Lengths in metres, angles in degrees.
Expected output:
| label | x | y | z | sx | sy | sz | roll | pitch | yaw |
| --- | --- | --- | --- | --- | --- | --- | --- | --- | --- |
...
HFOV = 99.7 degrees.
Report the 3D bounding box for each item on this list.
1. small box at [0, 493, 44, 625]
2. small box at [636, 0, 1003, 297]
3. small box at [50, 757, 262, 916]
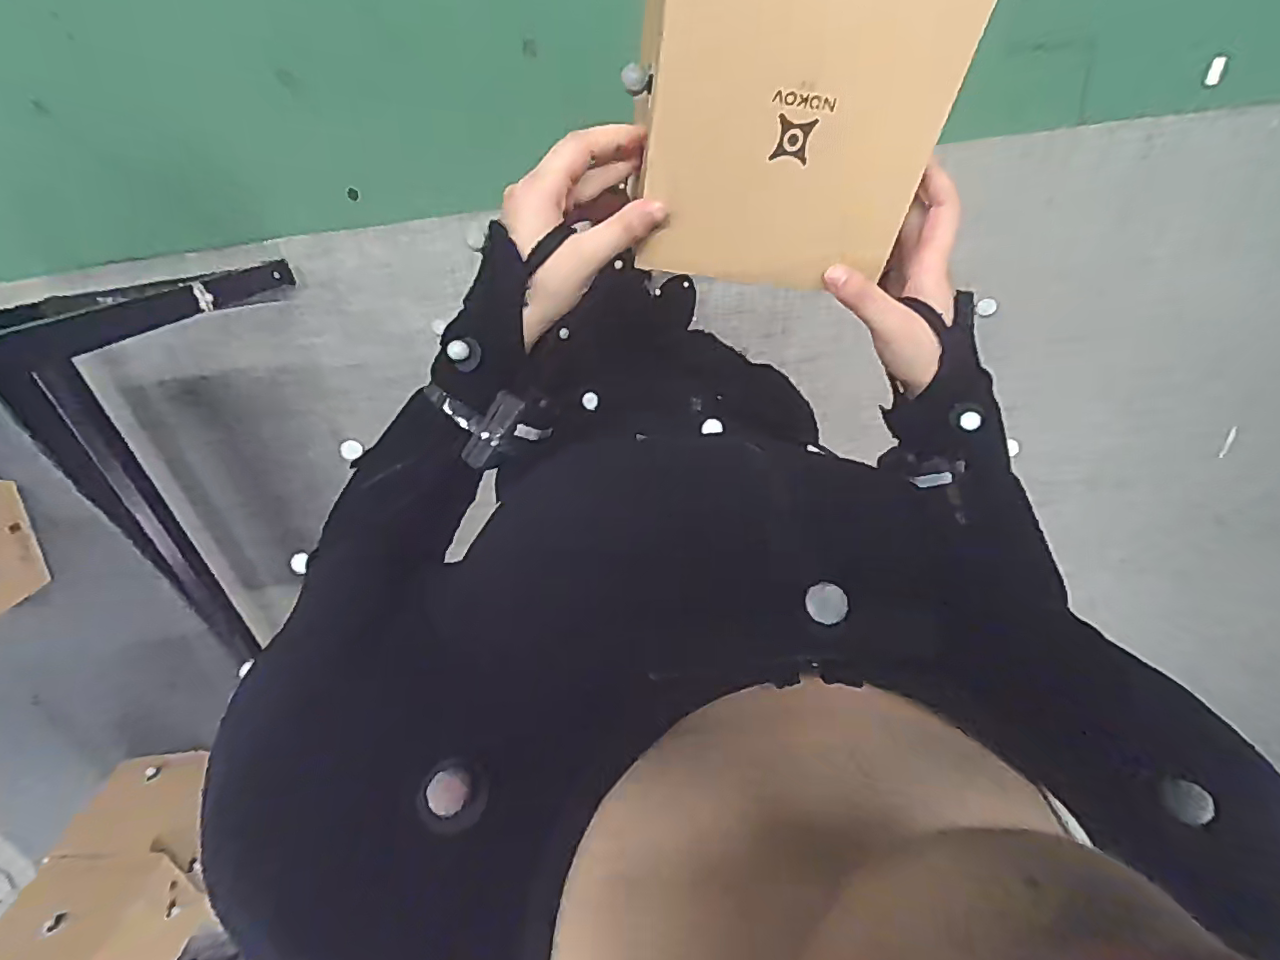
| label | x | y | z | sx | sy | sz | roll | pitch | yaw |
| --- | --- | --- | --- | --- | --- | --- | --- | --- | --- |
| small box | -0.883 | 0.107 | 0.642 | 0.179 | 0.176 | 0.168 | 11 | 118 | -7 |
| small box | 0.088 | -0.247 | 0.362 | 0.168 | 0.176 | 0.179 | 4 | 130 | -6 |
| small box | -0.812 | 0.608 | 0.932 | 0.179 | 0.176 | 0.168 | -7 | 119 | 2 |
